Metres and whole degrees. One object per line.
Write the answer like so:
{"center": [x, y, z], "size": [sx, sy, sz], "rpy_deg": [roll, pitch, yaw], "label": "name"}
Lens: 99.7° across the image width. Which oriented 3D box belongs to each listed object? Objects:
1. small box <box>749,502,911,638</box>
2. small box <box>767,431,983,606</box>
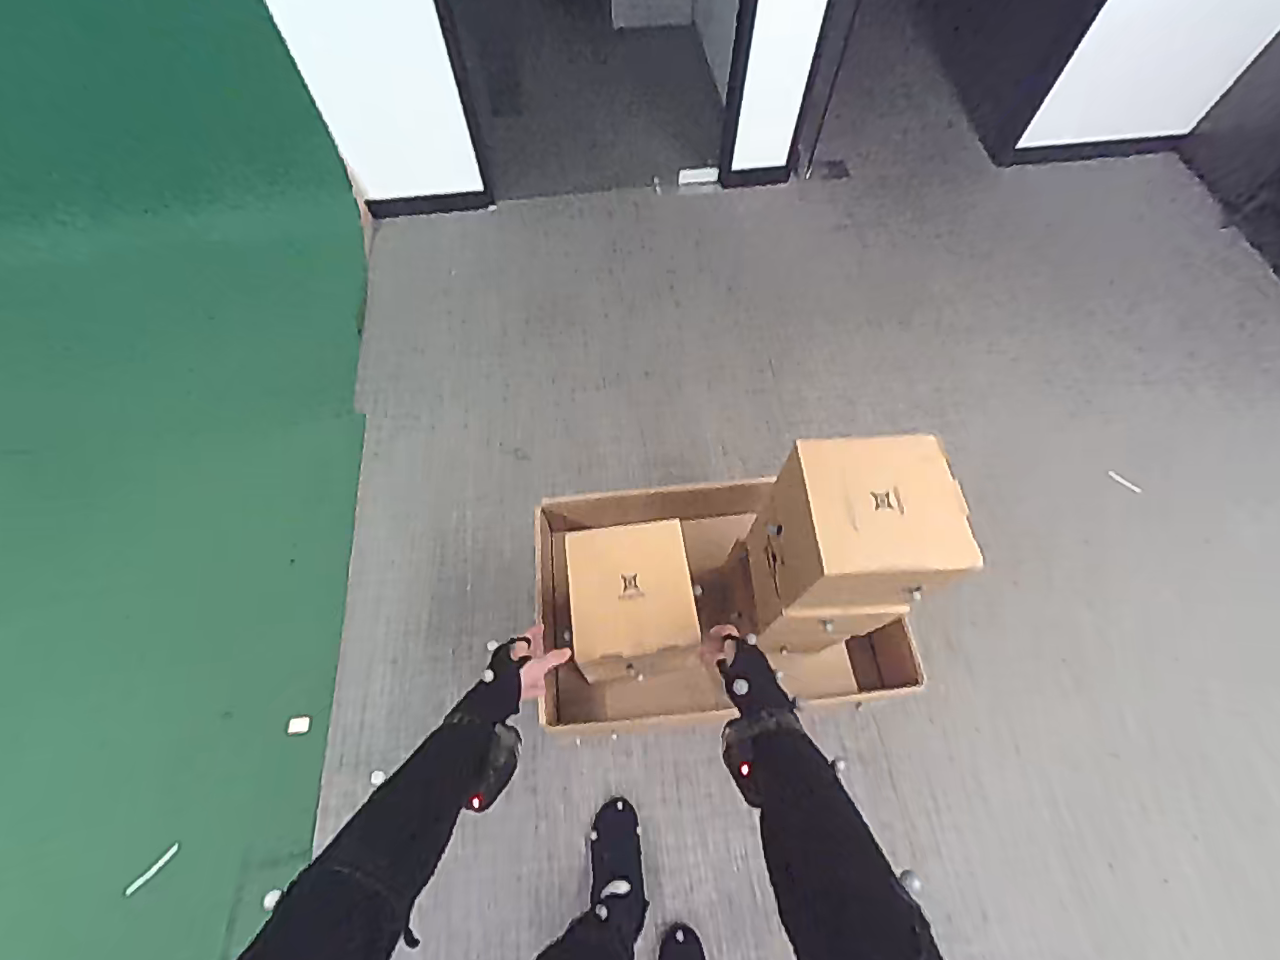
{"center": [0.266, 0.137, 0.810], "size": [0.179, 0.176, 0.168], "rpy_deg": [-2, 63, -2], "label": "small box"}
{"center": [0.270, 0.054, 0.669], "size": [0.179, 0.176, 0.168], "rpy_deg": [-3, 63, -1], "label": "small box"}
